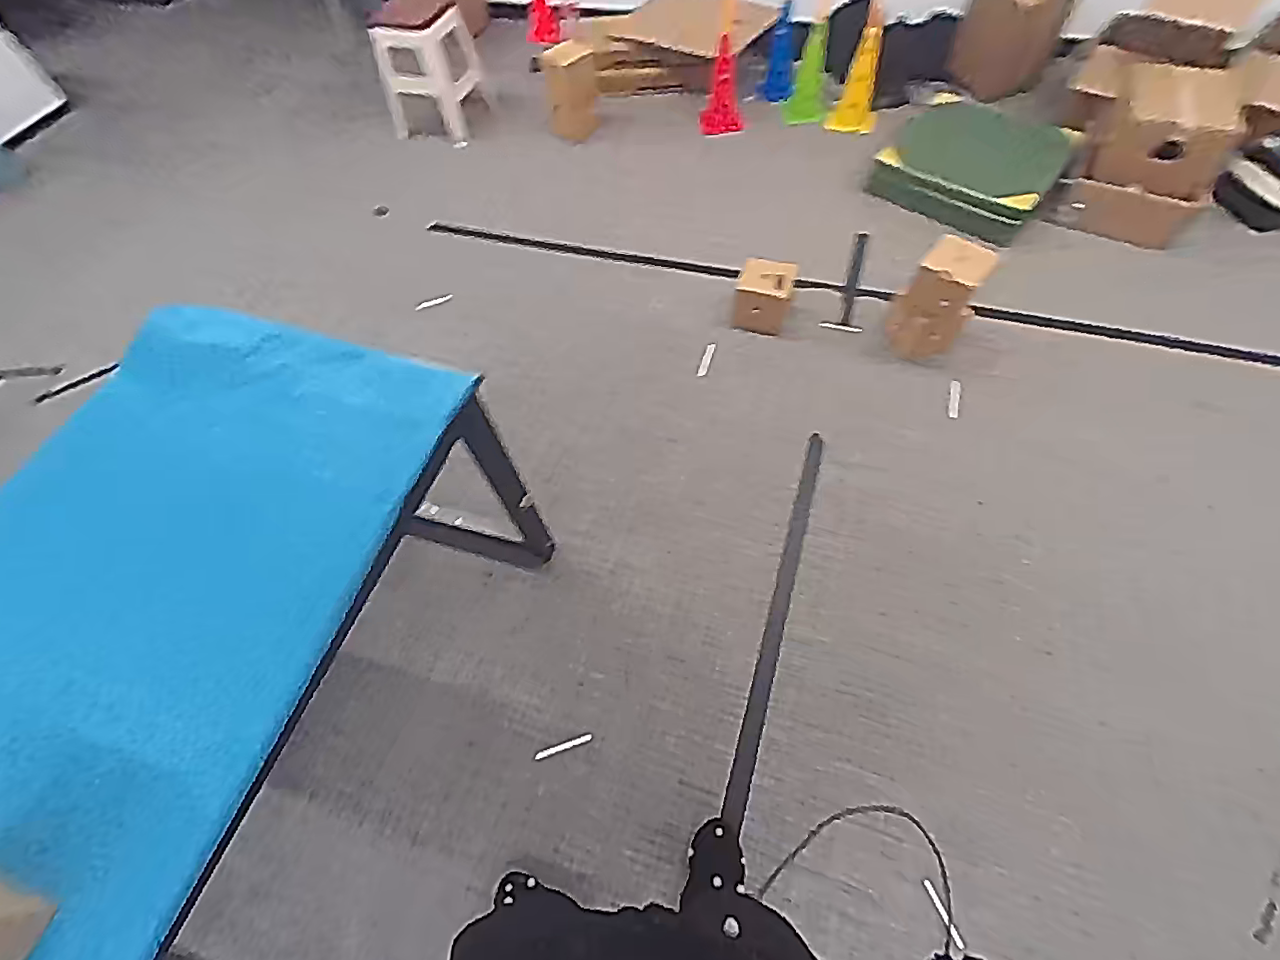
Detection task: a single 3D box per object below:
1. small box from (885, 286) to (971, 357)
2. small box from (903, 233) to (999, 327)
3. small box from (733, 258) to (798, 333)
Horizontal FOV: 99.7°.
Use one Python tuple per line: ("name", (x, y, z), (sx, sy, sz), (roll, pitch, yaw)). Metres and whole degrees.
("small box", (0.938, -0.530, 1.785), (0.179, 0.176, 0.168), (-14, 60, -5))
("small box", (0.929, -0.599, 1.634), (0.168, 0.176, 0.179), (37, 69, 20))
("small box", (0.433, -0.638, 1.882), (0.179, 0.176, 0.168), (16, 63, 14))
